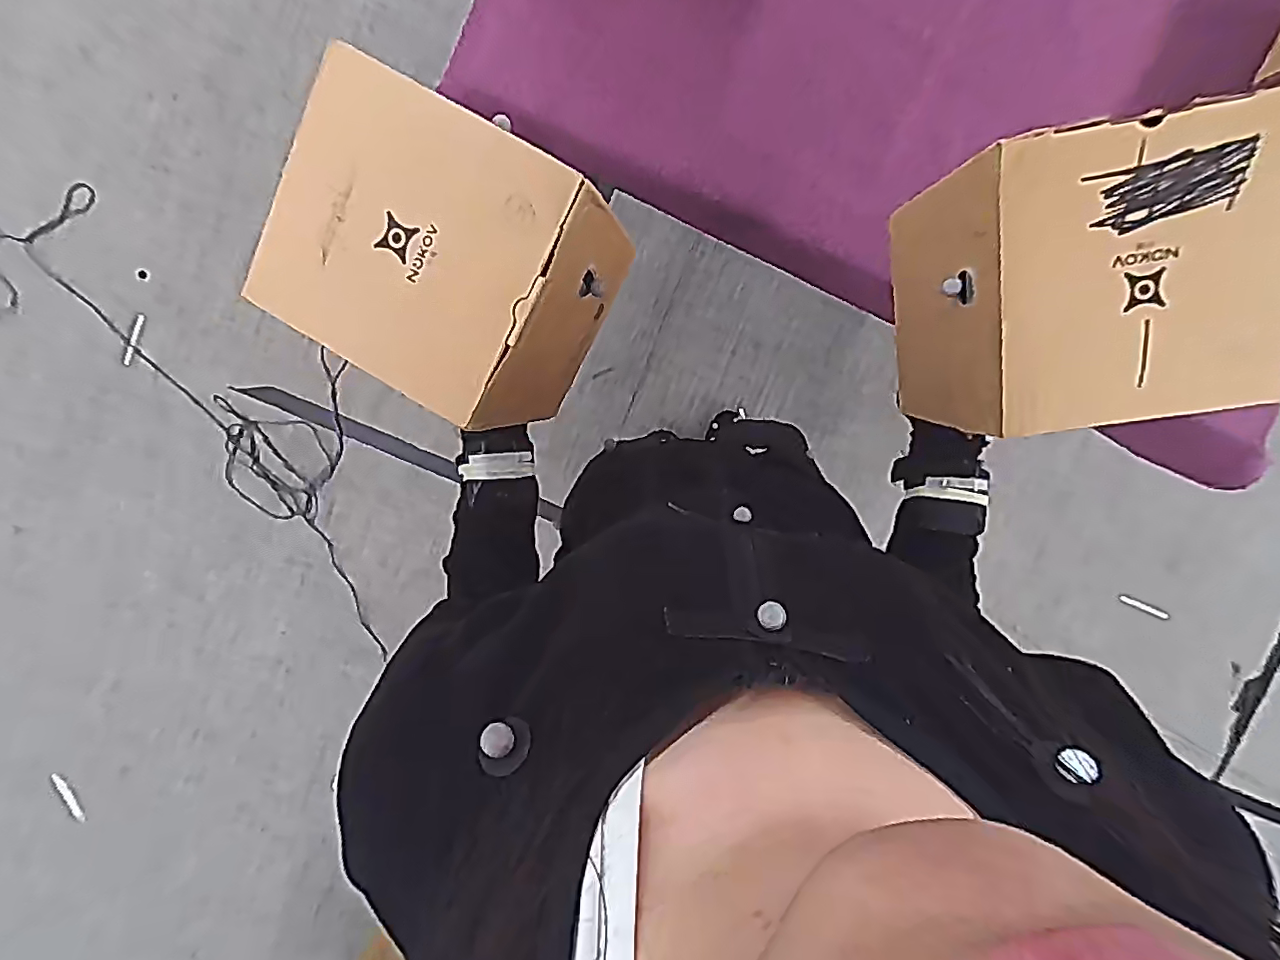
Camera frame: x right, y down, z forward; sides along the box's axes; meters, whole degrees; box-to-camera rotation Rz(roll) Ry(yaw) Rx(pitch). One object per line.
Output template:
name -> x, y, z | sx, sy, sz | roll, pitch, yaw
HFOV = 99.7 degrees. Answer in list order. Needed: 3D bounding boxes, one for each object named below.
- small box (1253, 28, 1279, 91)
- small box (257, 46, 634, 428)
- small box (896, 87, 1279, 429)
small box -> 0.911, -0.549, 0.636 | 0.168, 0.176, 0.179 | 26, 94, -5
small box -> -0.122, -0.156, 0.404 | 0.179, 0.176, 0.168 | 30, 102, 4
small box -> 0.306, -0.142, 0.401 | 0.168, 0.176, 0.179 | -8, 102, 6
